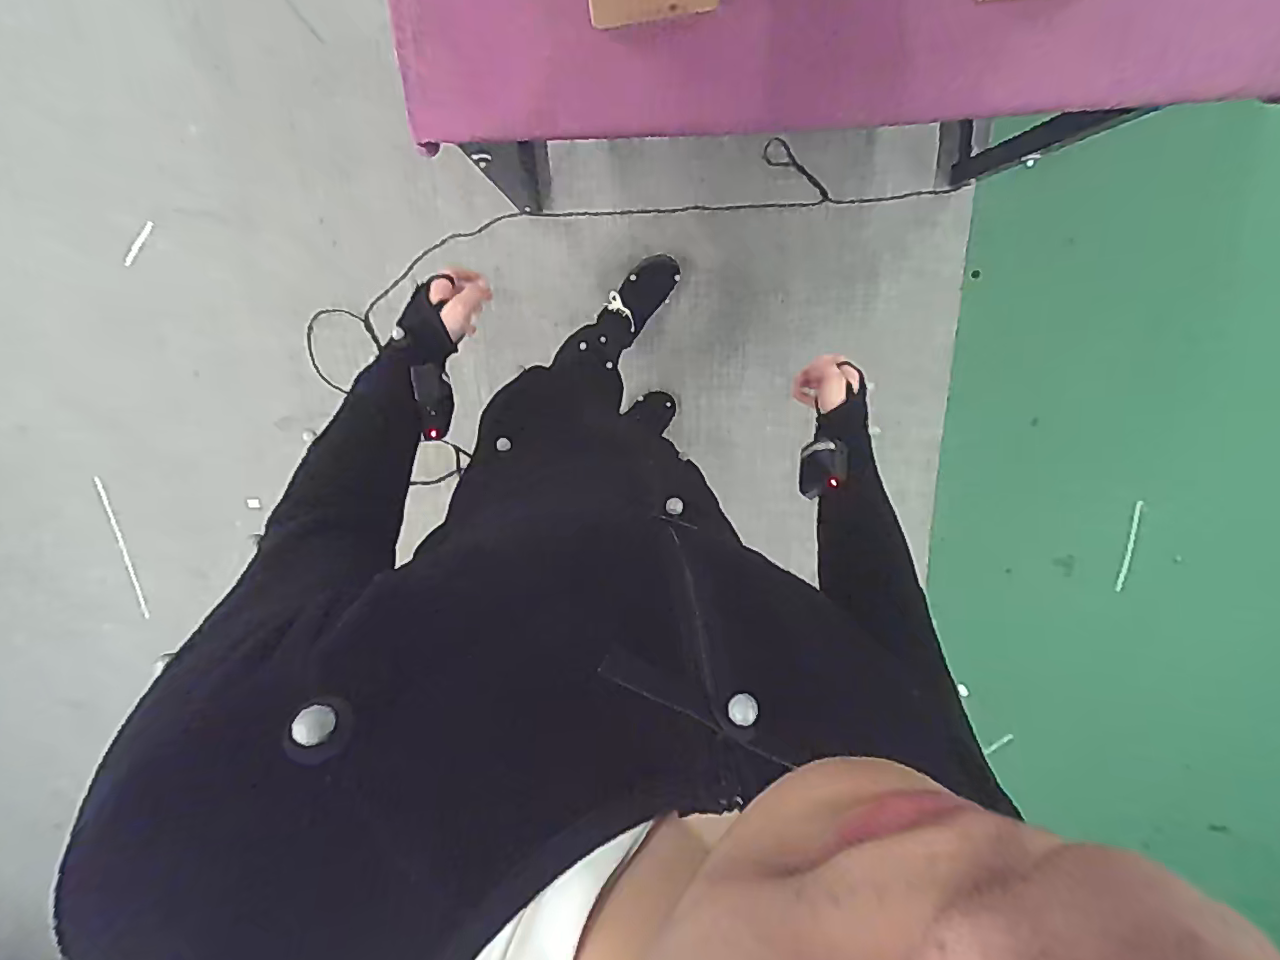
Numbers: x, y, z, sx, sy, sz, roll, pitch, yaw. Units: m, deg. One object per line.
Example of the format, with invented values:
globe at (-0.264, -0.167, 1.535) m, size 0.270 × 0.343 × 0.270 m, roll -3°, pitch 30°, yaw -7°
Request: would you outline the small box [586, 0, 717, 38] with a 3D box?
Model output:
small box at (0.006, -0.651, 0.607) m, size 0.168 × 0.176 × 0.179 m, roll -9°, pitch 106°, yaw 2°
